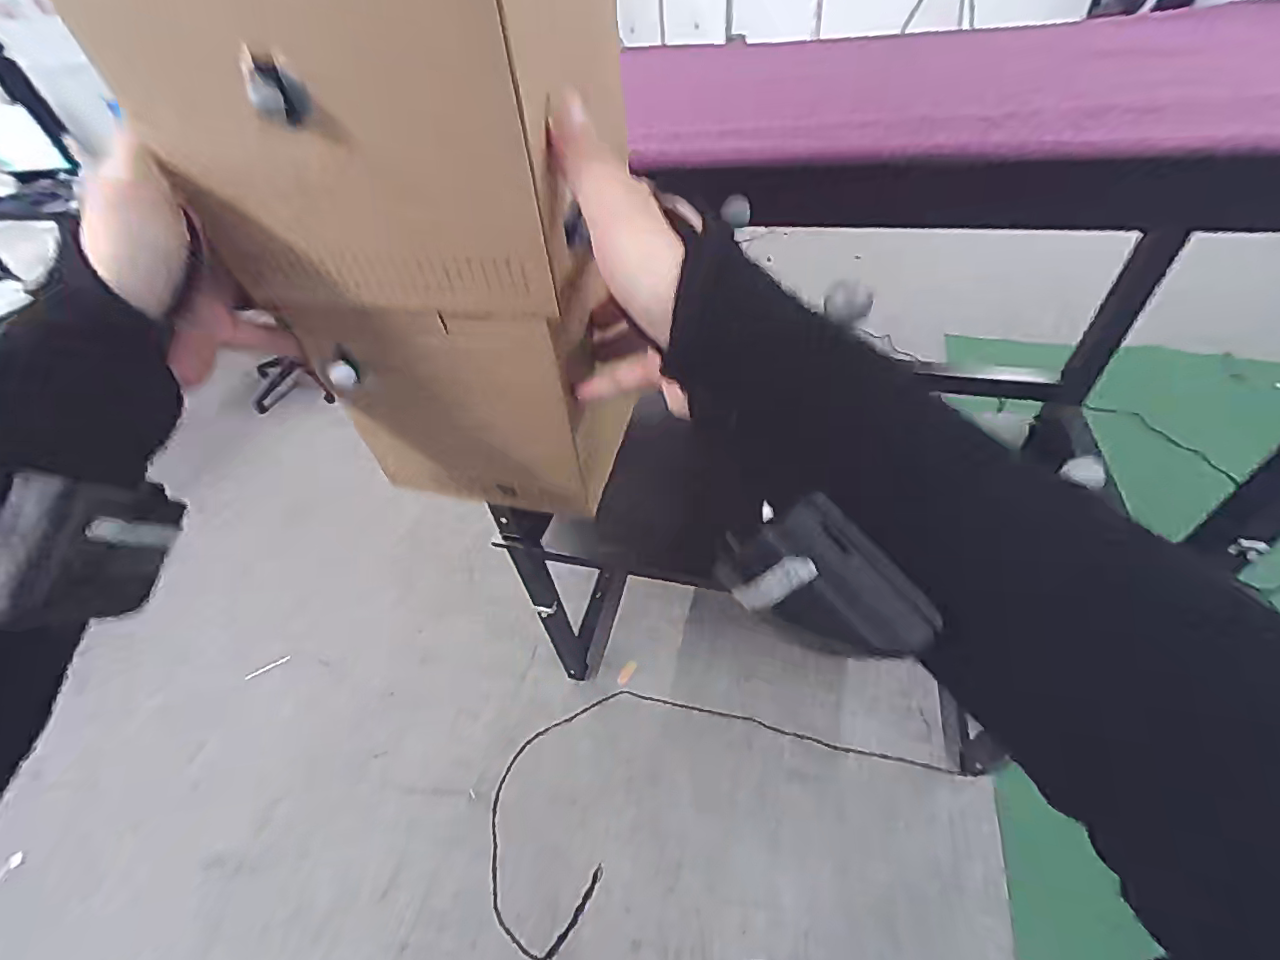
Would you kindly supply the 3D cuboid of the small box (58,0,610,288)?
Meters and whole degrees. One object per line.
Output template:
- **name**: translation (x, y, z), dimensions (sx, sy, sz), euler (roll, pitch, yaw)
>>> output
- **small box**: translation (-0.120, -0.213, 0.267), dimensions (0.179, 0.176, 0.168), euler (6, 51, 11)
